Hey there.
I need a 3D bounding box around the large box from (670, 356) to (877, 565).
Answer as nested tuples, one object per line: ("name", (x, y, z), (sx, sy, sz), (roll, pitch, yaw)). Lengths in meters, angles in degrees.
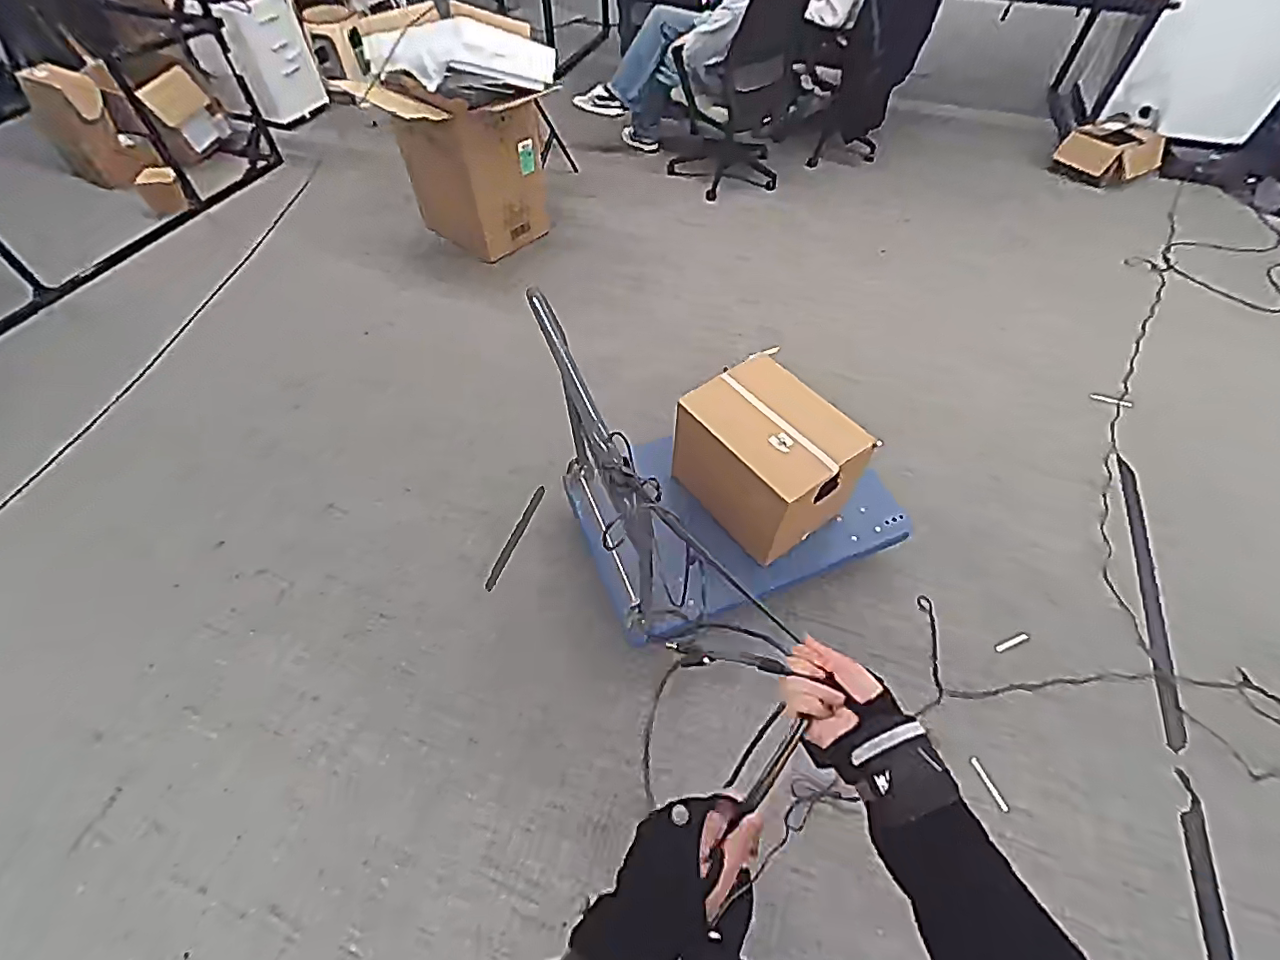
("large box", (0.329, -0.056, 1.458), (0.320, 0.320, 0.408), (-31, 61, -20))
